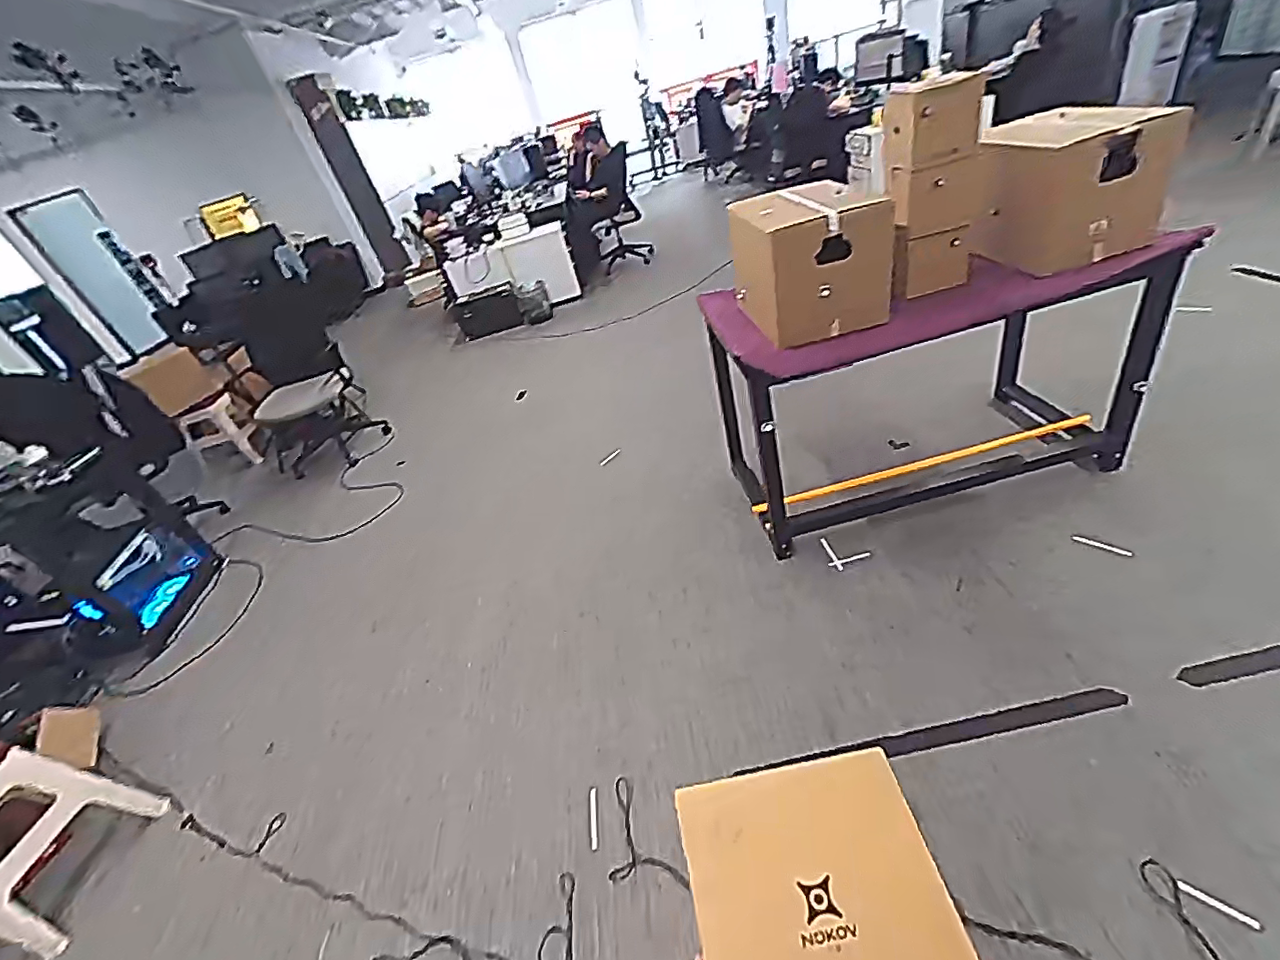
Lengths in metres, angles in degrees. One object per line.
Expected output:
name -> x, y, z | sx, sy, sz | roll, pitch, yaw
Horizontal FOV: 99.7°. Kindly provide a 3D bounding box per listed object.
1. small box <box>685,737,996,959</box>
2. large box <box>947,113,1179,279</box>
small box -> 0.131, 0.325, 0.401 | 0.168, 0.176, 0.179 | -10, 42, -1
large box -> 1.126, -0.794, 1.505 | 0.320, 0.320, 0.408 | -16, 34, 2
